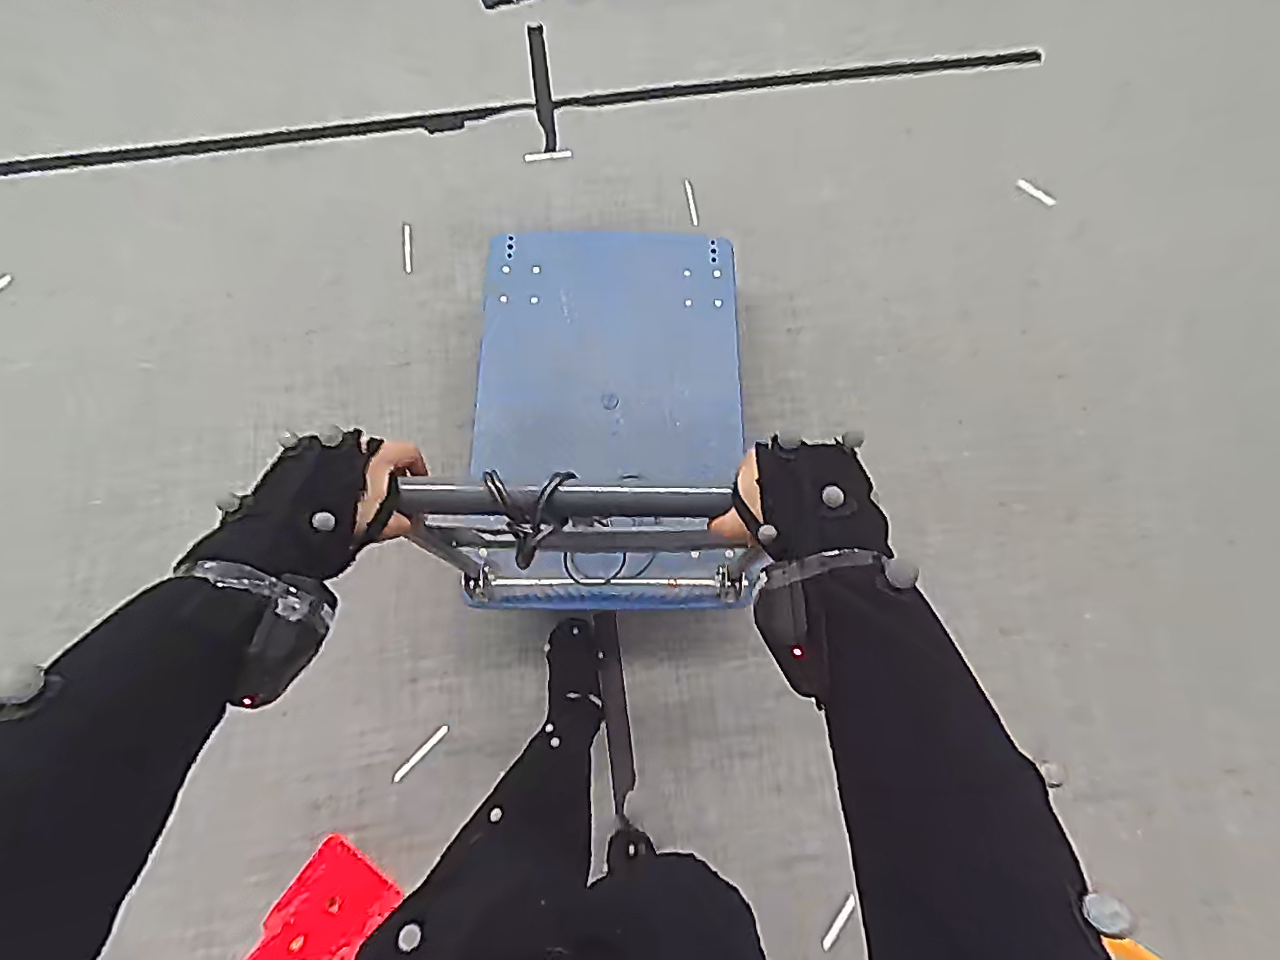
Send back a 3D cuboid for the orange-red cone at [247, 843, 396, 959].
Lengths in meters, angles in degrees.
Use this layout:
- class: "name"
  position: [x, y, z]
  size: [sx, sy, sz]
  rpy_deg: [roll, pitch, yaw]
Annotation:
- class: "orange-red cone"
  position: [-0.586, 0.786, 0.870]
  size: [0.198, 0.360, 0.199]
  rpy_deg: [36, 74, 8]
